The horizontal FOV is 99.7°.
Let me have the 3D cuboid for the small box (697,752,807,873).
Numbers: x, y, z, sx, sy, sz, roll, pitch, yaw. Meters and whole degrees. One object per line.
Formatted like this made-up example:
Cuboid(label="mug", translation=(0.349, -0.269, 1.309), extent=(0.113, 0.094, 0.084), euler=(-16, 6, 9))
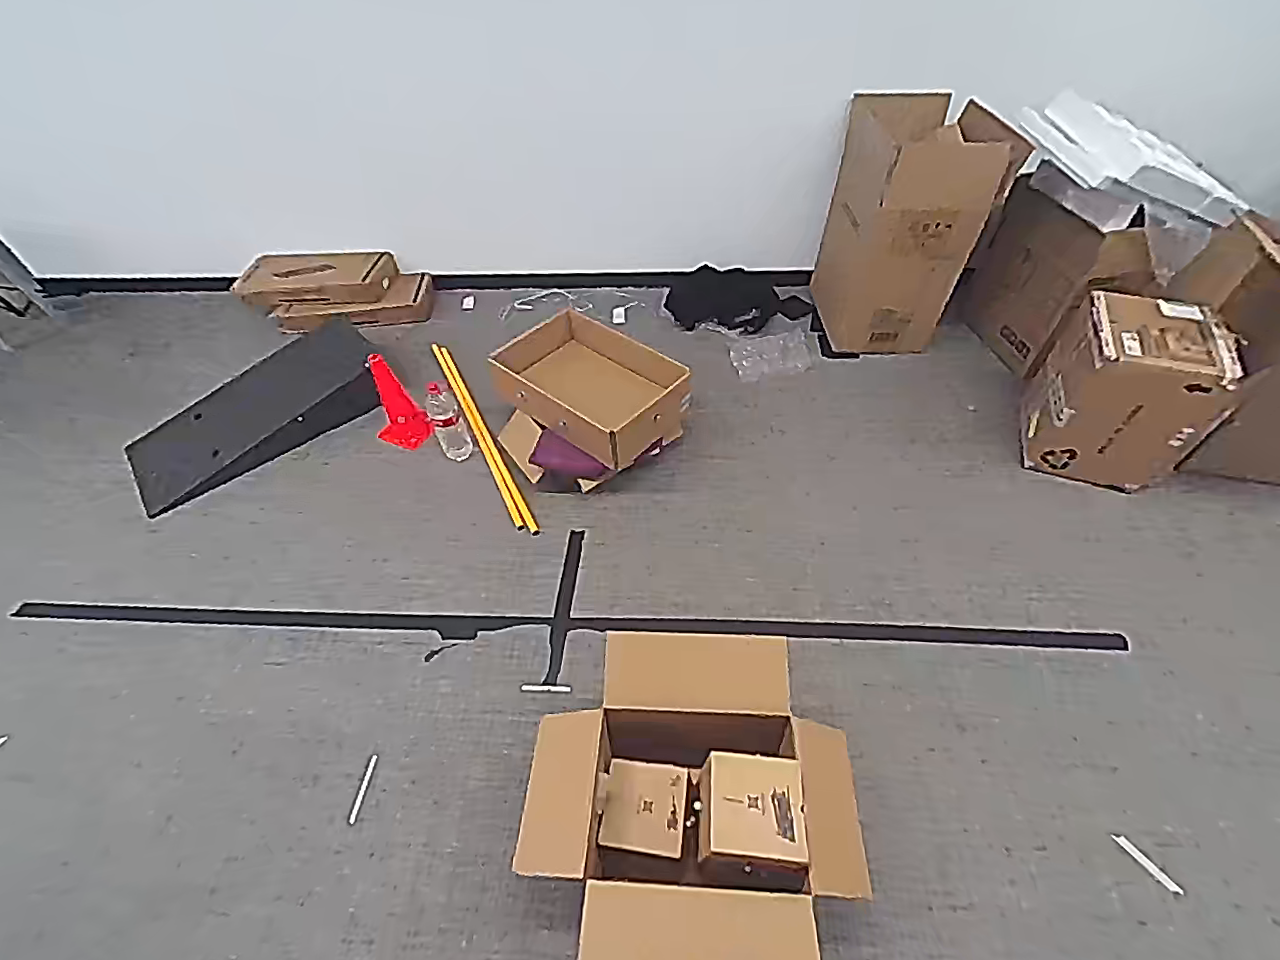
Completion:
Cuboid(label="small box", translation=(0.211, 0.651, 1.053), extent=(0.179, 0.176, 0.168), euler=(5, 48, 3))
